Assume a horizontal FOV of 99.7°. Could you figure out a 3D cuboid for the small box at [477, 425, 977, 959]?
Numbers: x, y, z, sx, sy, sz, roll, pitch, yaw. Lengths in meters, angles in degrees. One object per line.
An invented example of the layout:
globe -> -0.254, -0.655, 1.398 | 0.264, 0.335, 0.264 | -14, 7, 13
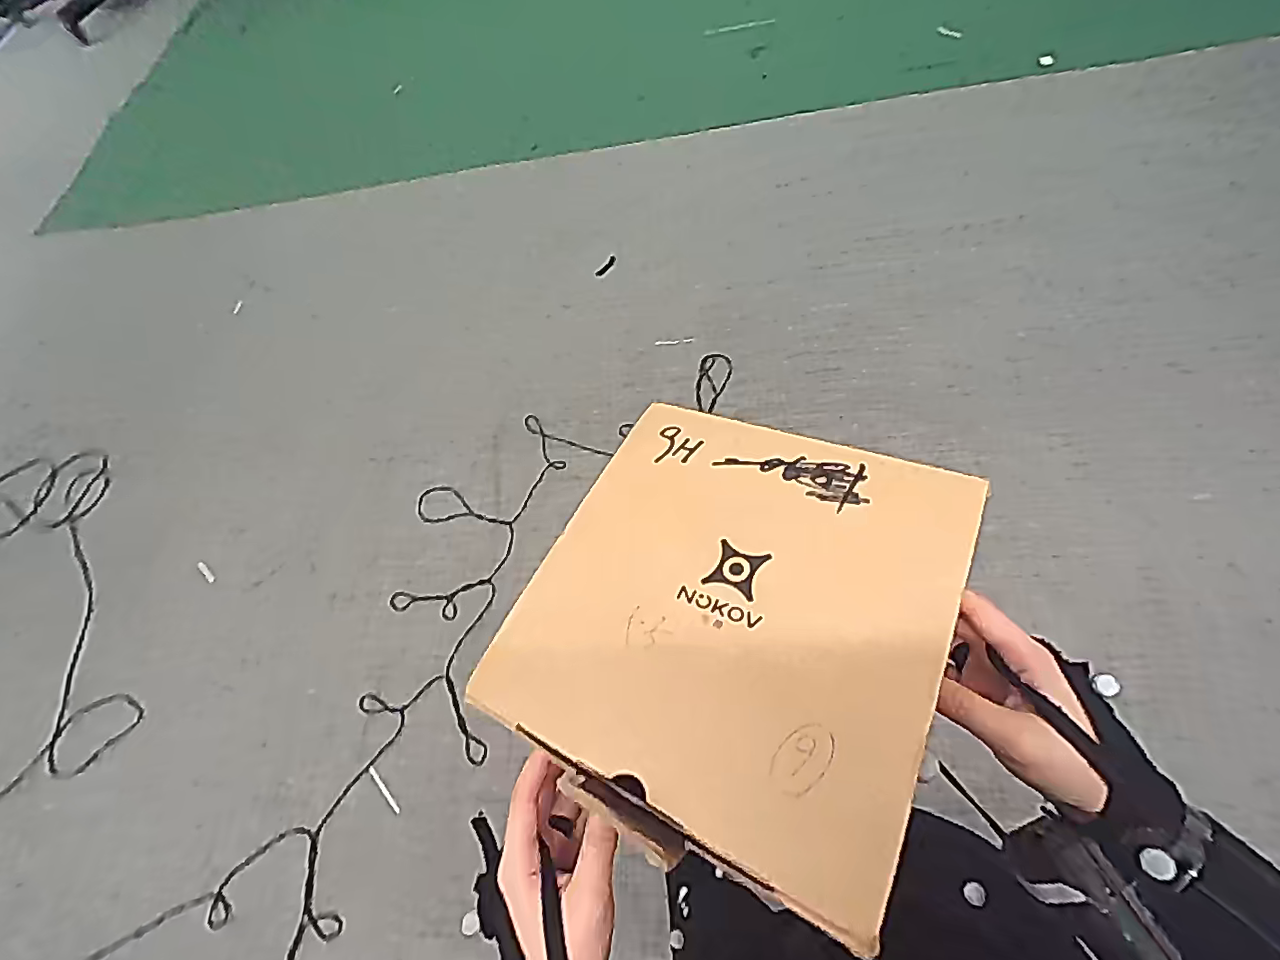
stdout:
small box -> 0.055, 0.103, 0.295 | 0.168, 0.176, 0.179 | 18, 61, 26
